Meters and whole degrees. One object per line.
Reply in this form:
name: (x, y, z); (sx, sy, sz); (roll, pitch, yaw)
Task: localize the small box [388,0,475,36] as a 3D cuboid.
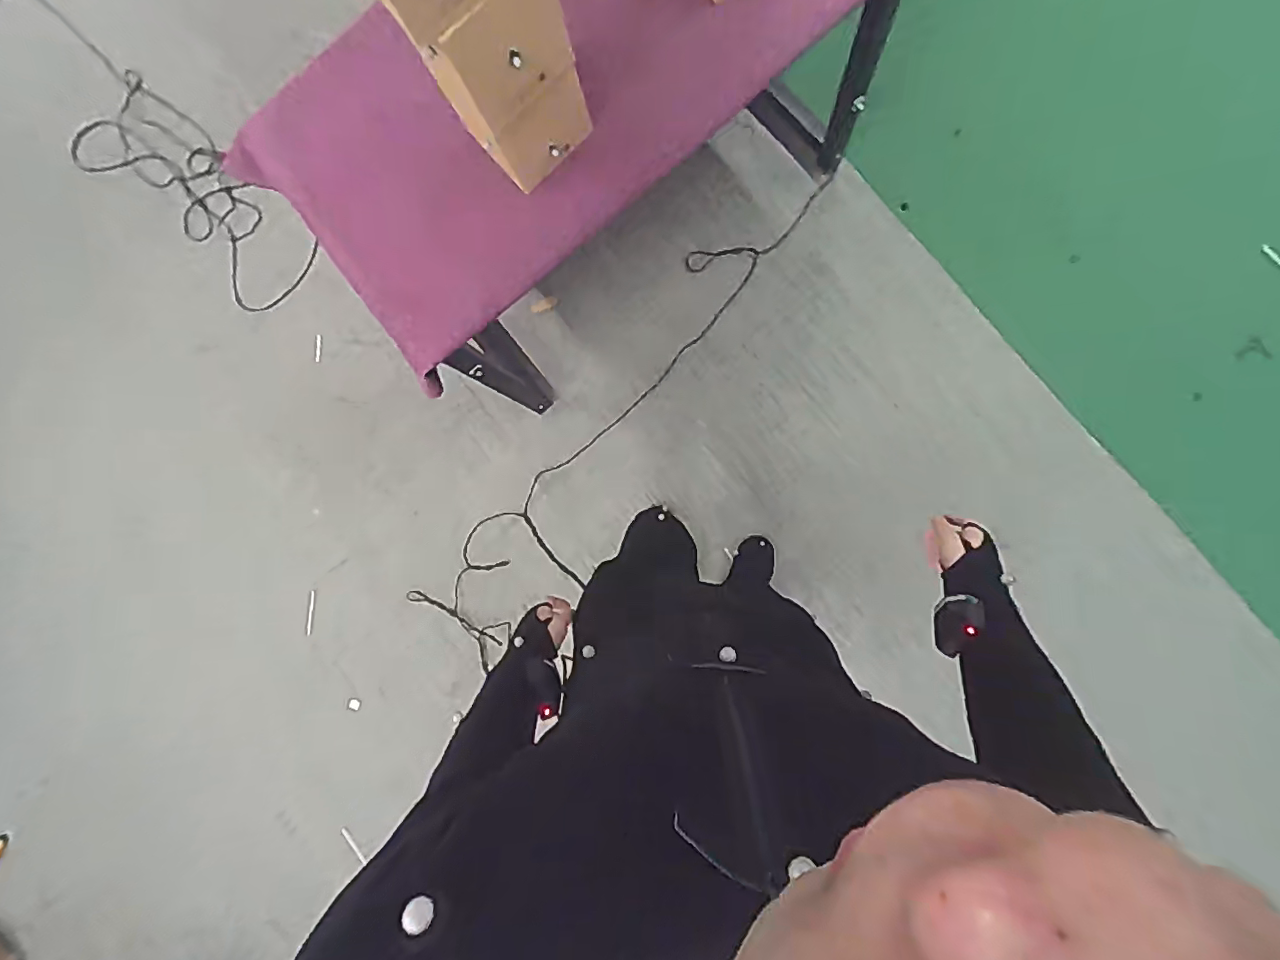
small box: (-0.253, -0.632, 0.560); (0.168, 0.176, 0.179); (-38, 83, 5)

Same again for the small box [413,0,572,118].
small box: (-0.216, -0.632, 0.721); (0.168, 0.176, 0.179); (-40, 83, 4)
